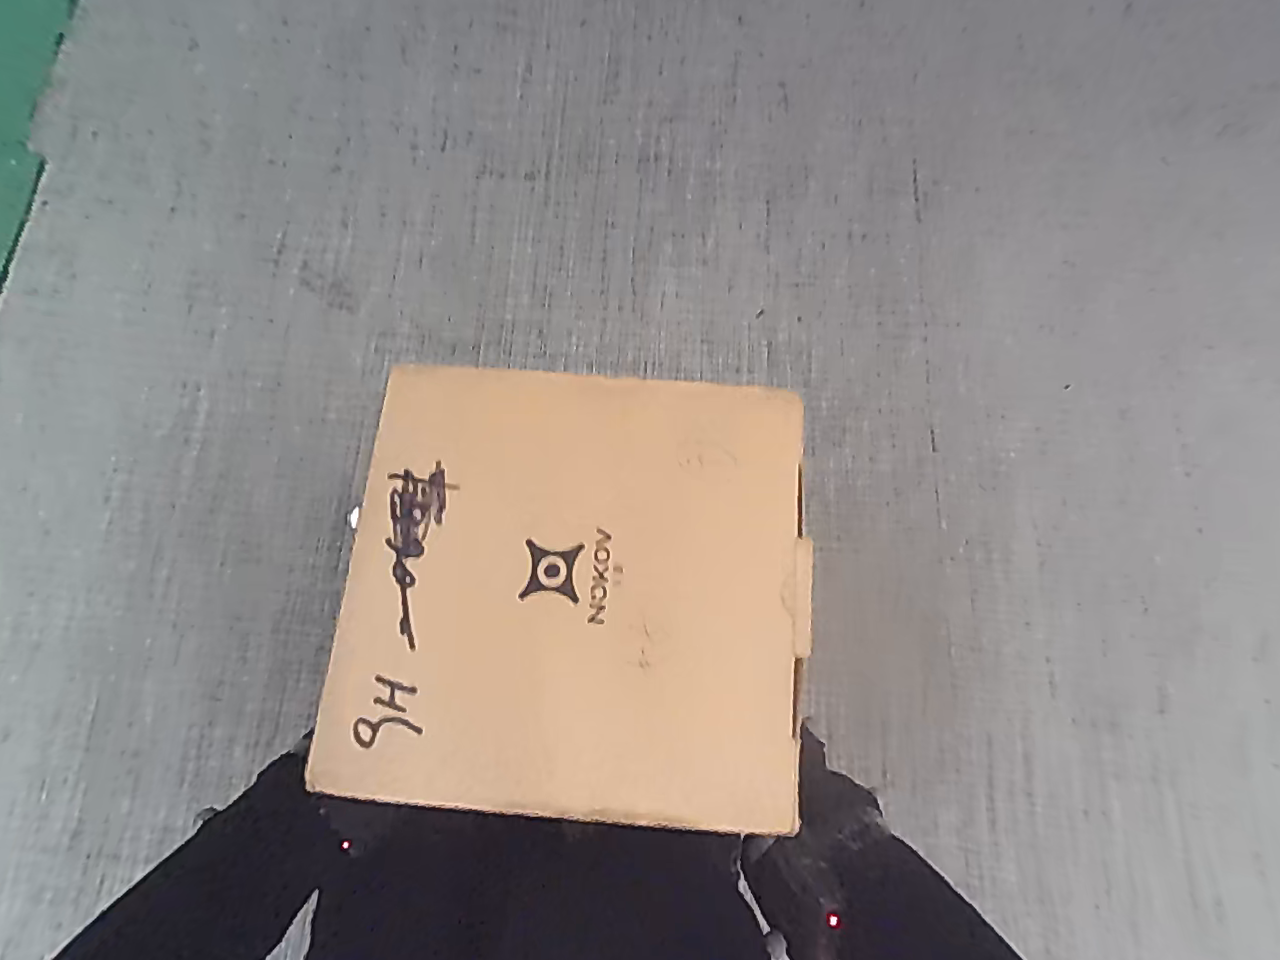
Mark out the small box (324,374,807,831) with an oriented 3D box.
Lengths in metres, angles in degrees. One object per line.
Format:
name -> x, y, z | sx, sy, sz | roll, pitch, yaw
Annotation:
small box -> -0.024, 0.060, 0.293 | 0.179, 0.176, 0.168 | 6, 76, 1
